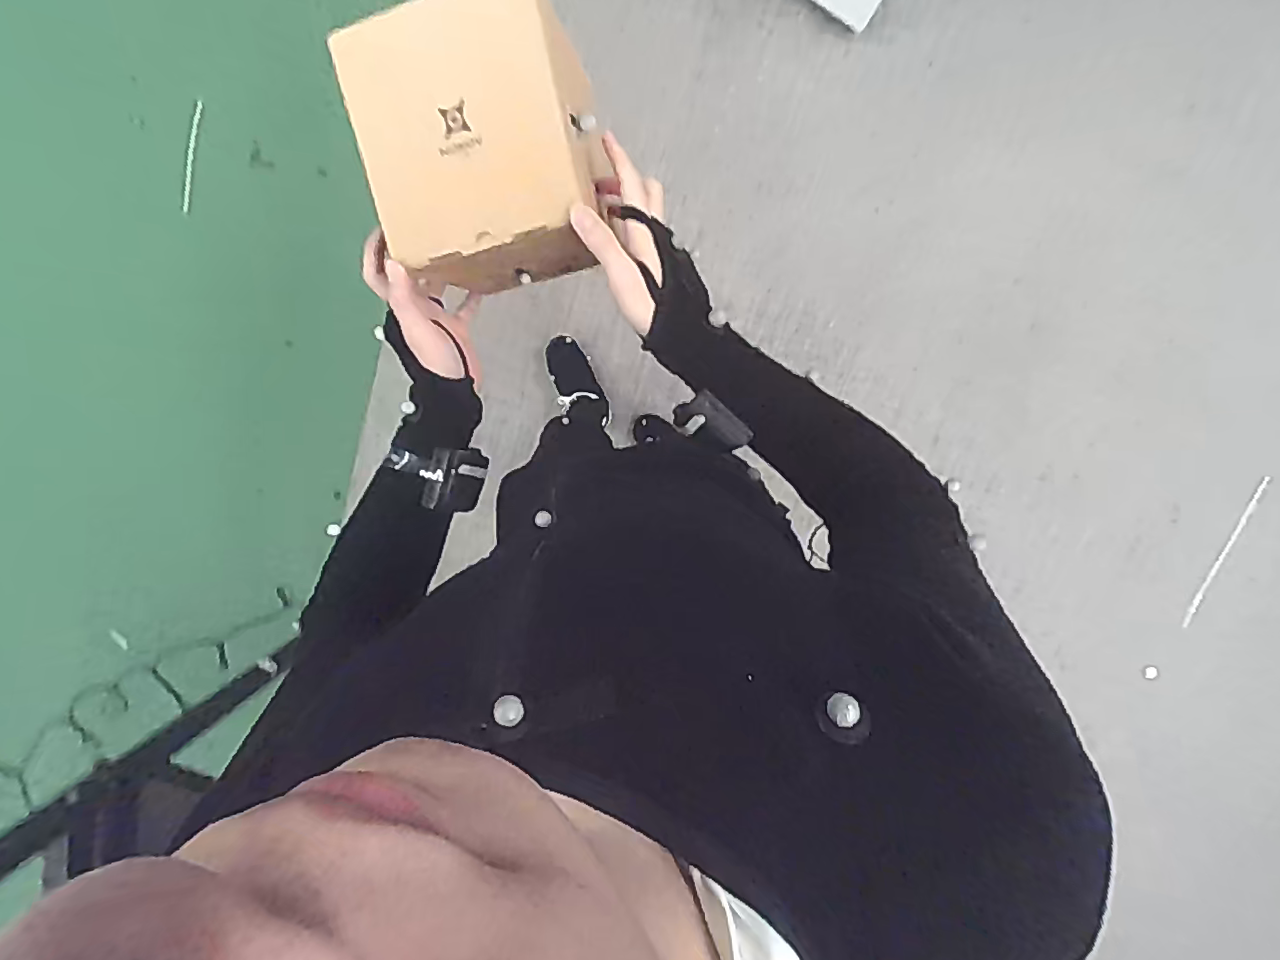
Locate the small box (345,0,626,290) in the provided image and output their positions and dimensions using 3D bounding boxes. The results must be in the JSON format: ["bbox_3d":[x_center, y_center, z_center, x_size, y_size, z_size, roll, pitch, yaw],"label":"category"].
[{"bbox_3d":[-0.119,-0.286,0.489,0.168,0.176,0.179,-9,101,11],"label":"small box"}]
